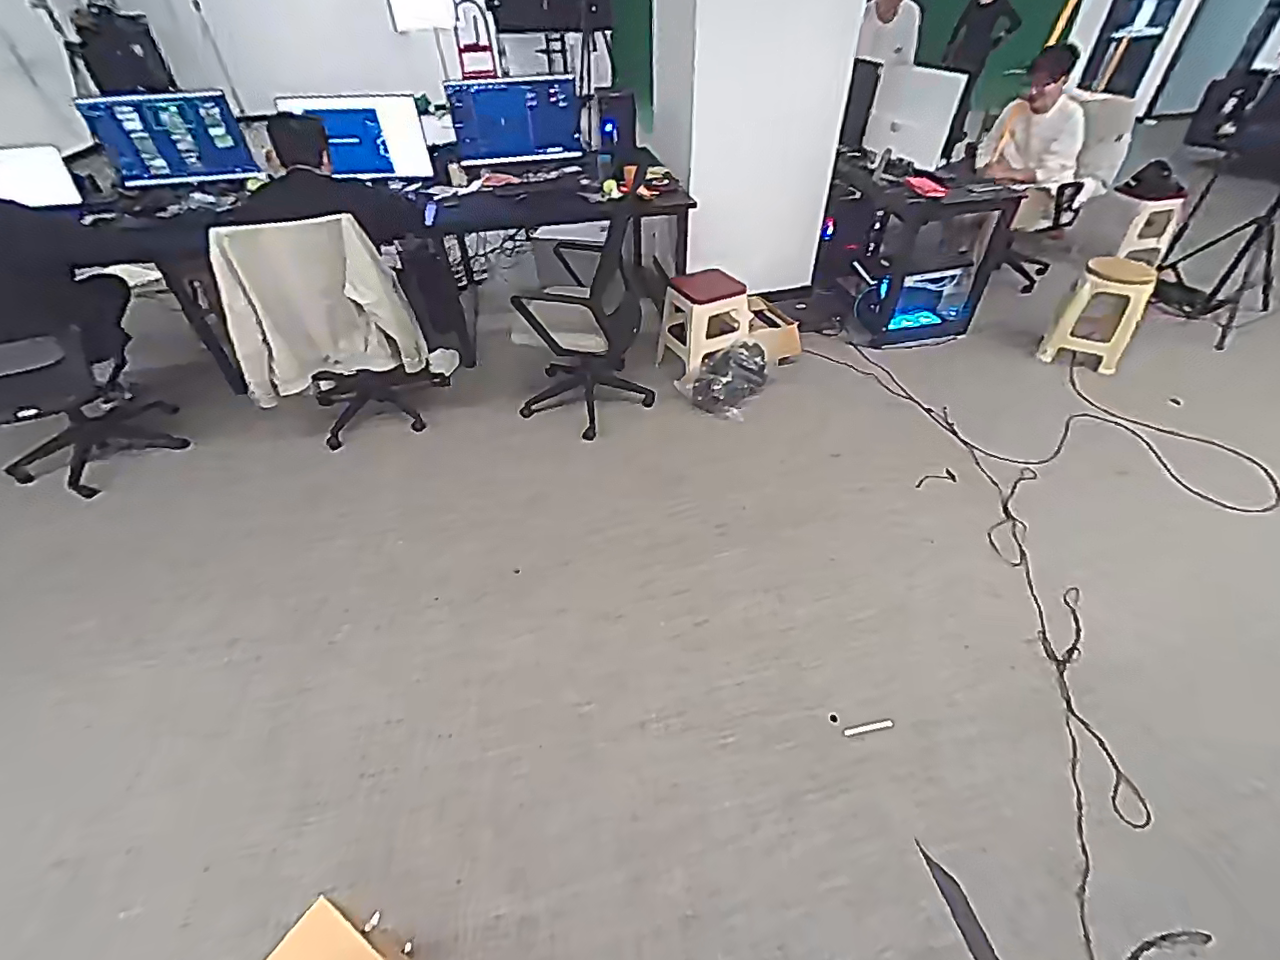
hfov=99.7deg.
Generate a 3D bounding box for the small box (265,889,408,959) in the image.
[{"bbox_3d":[-0.537,0.873,0.945,0.179,0.176,0.168,23,47,23],"label":"small box"}]

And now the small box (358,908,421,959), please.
[{"bbox_3d":[-0.534,0.995,1.054,0.179,0.176,0.168,22,47,24],"label":"small box"}]
